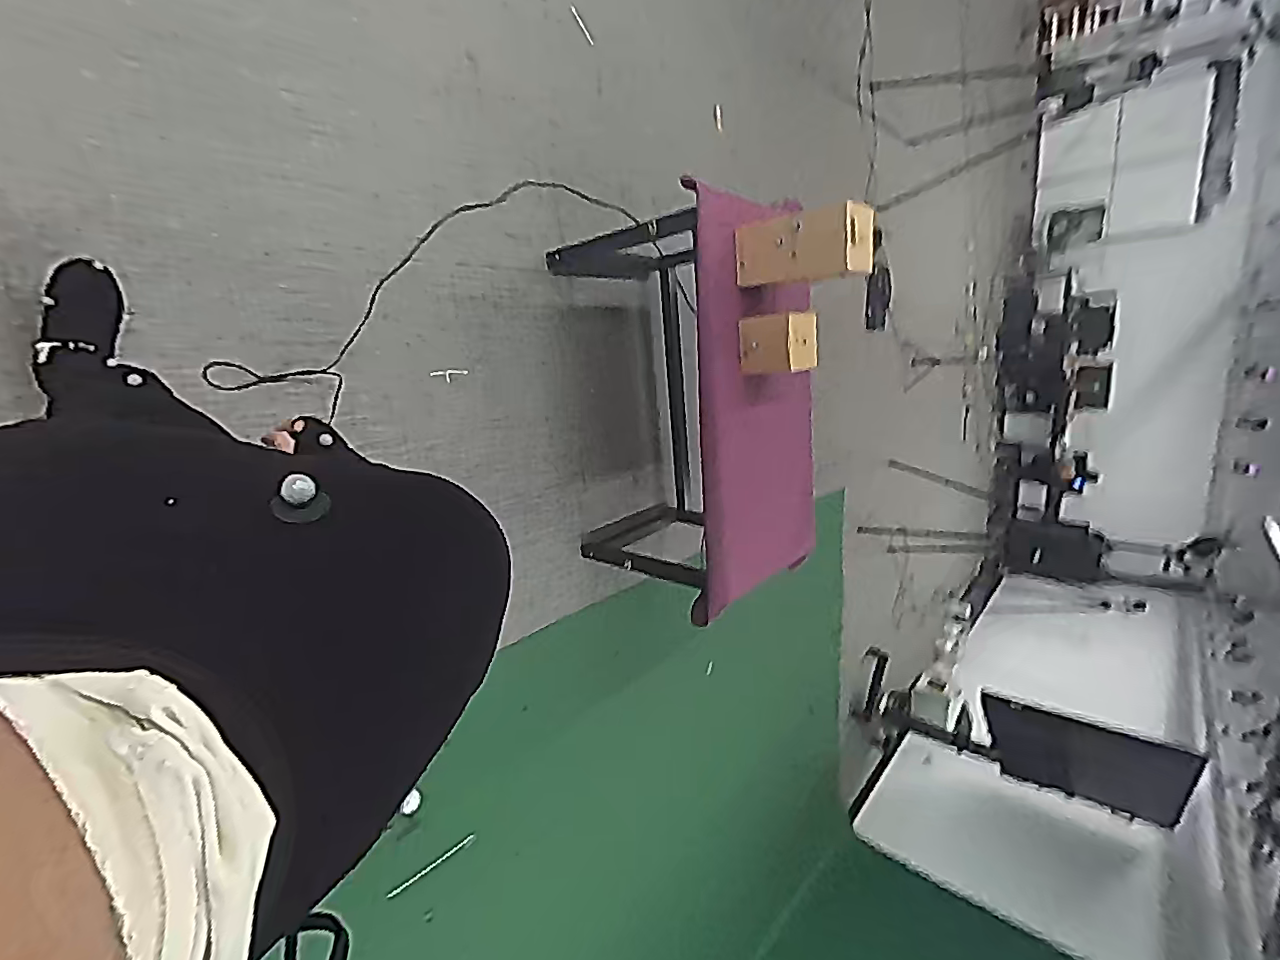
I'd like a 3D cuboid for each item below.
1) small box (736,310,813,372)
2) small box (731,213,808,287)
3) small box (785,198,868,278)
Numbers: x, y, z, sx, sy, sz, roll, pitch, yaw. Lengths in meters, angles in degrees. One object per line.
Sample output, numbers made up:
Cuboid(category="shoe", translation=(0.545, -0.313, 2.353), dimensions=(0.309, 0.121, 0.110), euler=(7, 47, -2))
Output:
Cuboid(category="small box", translation=(0.410, -0.423, 1.644), dimensions=(0.179, 0.176, 0.168), euler=(-20, 109, -44))
Cuboid(category="small box", translation=(0.385, -0.667, 1.584), dimensions=(0.179, 0.176, 0.168), euler=(-20, 108, -46))
Cuboid(category="small box", translation=(0.505, -0.651, 1.474), dimensions=(0.179, 0.176, 0.168), euler=(-20, 110, -45))
